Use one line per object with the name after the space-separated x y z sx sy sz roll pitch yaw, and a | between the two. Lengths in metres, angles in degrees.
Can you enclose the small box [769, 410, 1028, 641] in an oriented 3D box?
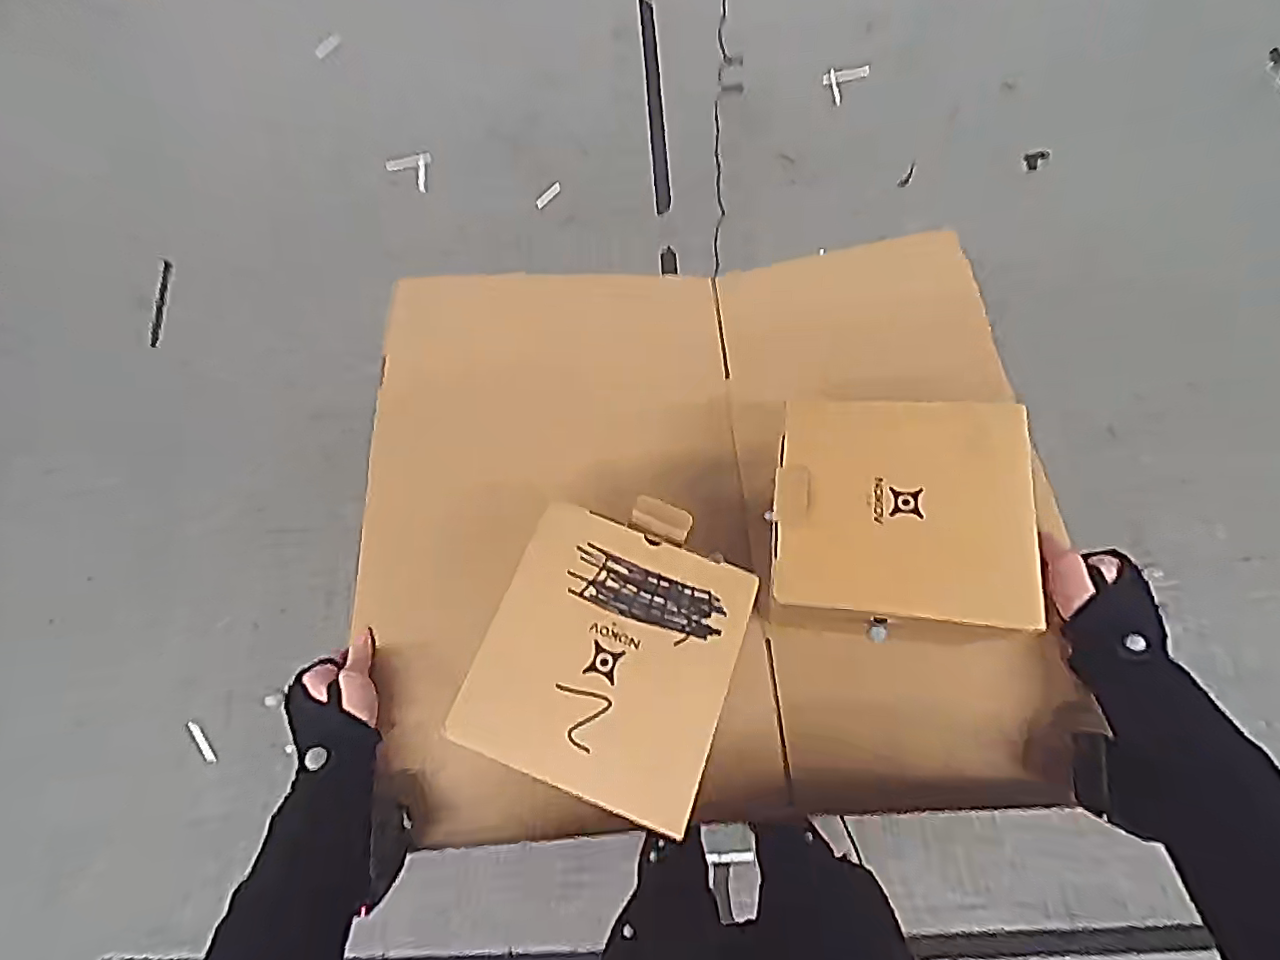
0.212 0.049 0.487 0.179 0.176 0.168 3 71 16 | small box
